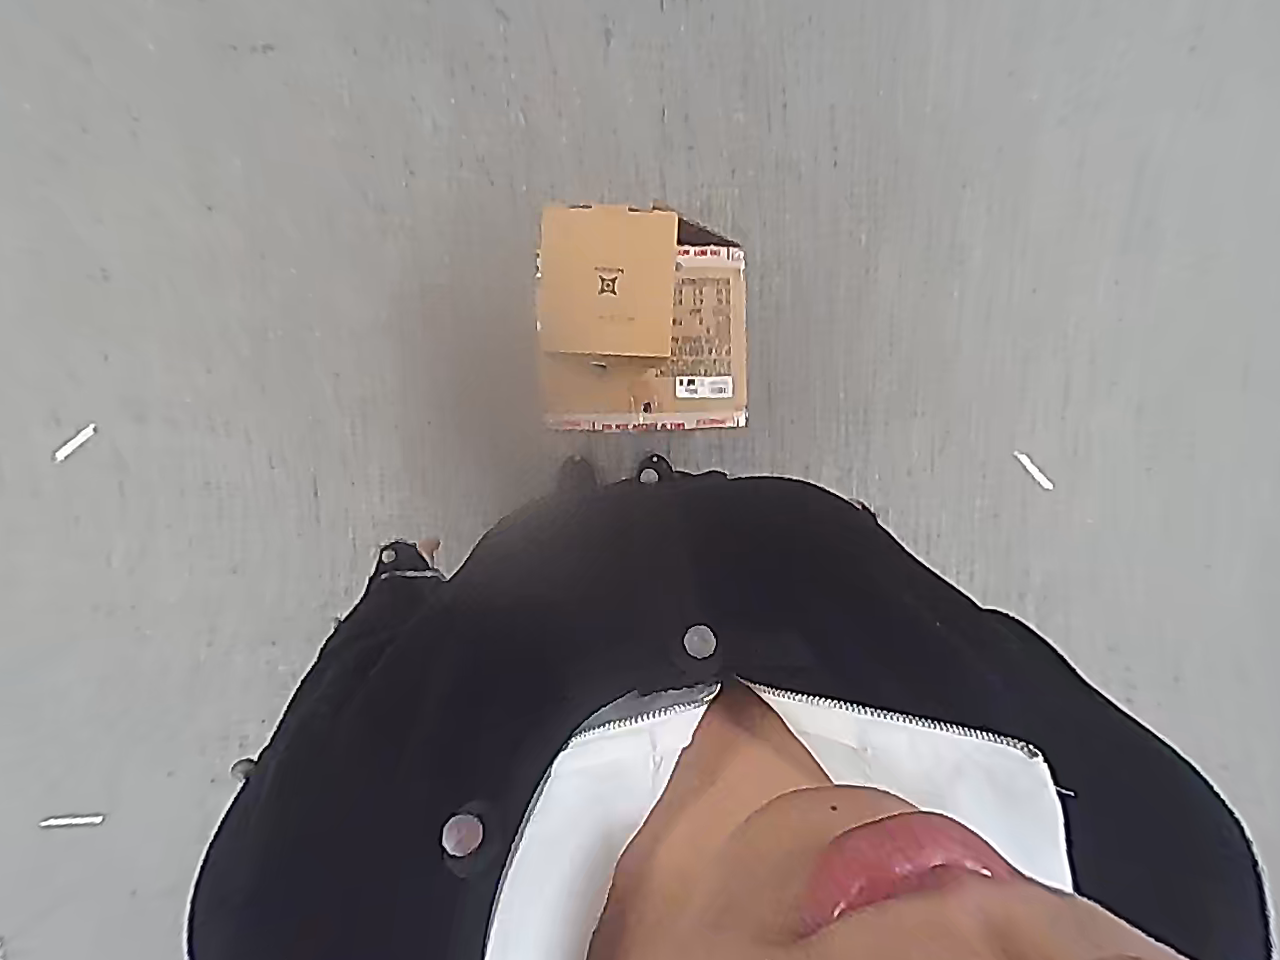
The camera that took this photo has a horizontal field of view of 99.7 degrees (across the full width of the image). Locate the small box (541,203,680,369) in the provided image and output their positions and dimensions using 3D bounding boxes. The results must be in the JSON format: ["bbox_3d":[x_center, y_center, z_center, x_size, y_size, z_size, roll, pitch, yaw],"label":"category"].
[{"bbox_3d":[-0.040,-0.249,0.734,0.168,0.176,0.179,2,97,-2],"label":"small box"}]
